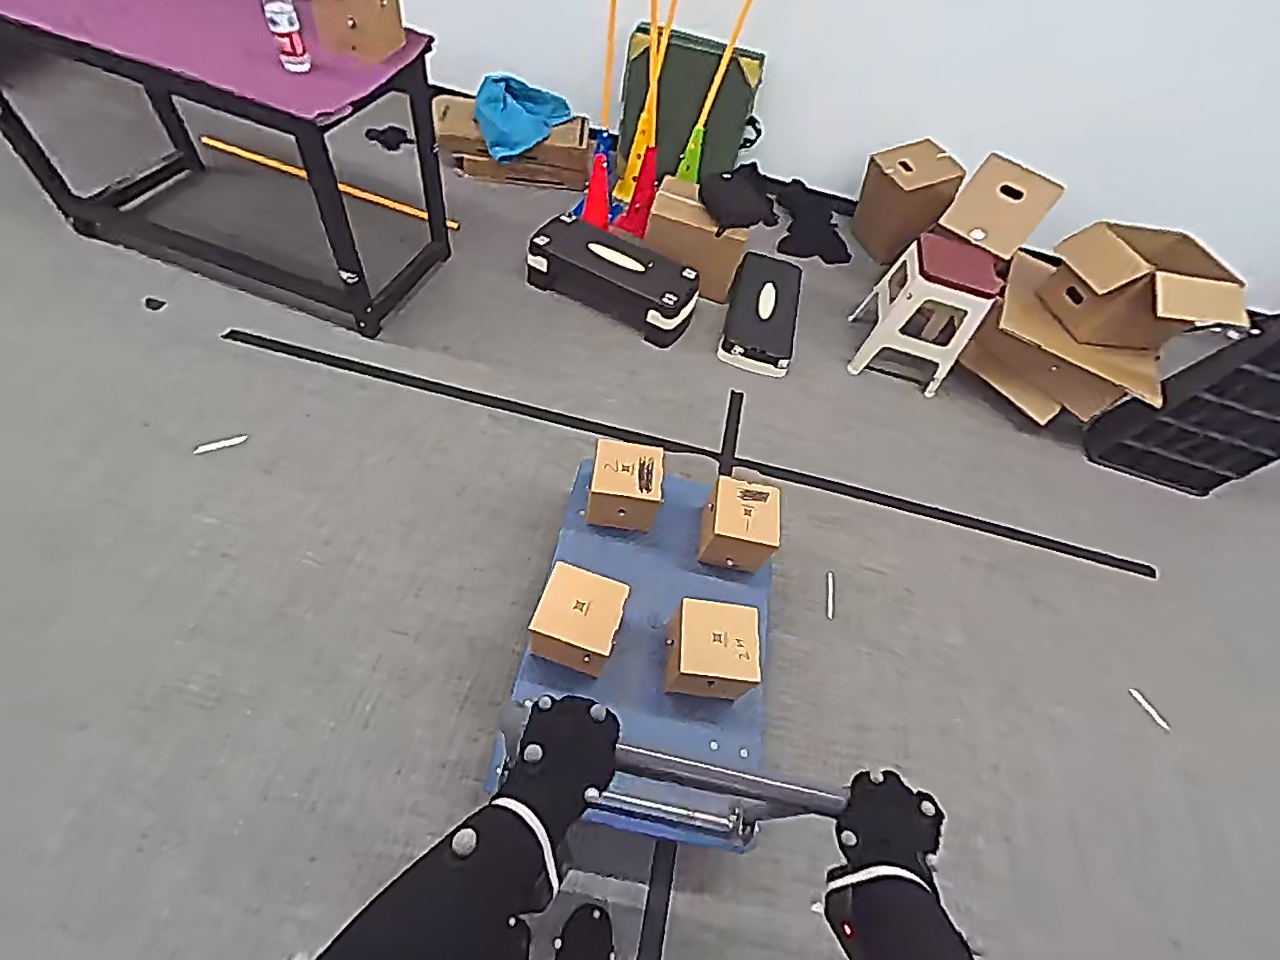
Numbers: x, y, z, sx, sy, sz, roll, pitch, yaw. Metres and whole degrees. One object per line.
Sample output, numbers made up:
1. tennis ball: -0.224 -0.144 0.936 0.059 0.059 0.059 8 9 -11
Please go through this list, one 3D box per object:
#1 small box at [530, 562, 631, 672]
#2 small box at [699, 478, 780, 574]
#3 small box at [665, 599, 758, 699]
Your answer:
1. small box: -0.139 0.315 1.223 0.179 0.176 0.168 20 55 0
2. small box: 0.260 0.125 1.430 0.168 0.176 0.179 13 57 -3
3. small box: 0.158 0.390 1.234 0.179 0.176 0.168 10 56 -5
